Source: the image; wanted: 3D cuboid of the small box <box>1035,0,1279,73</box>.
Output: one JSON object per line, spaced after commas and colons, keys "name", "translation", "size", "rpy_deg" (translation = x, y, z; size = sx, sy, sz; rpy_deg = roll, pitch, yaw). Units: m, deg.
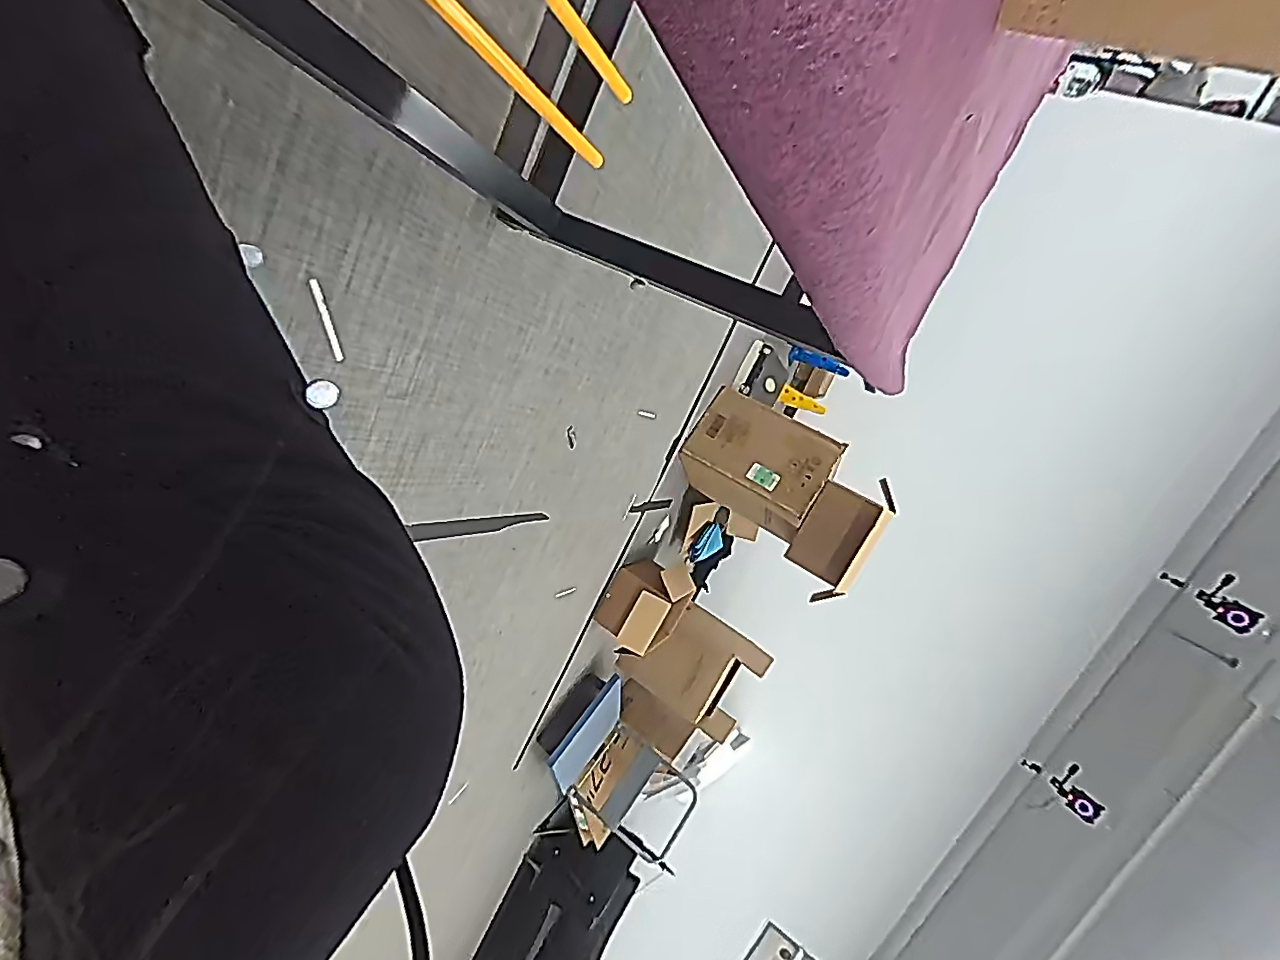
{"name": "small box", "translation": [0.256, -0.273, 0.166], "size": [0.168, 0.176, 0.179], "rpy_deg": [-65, 160, 11]}
